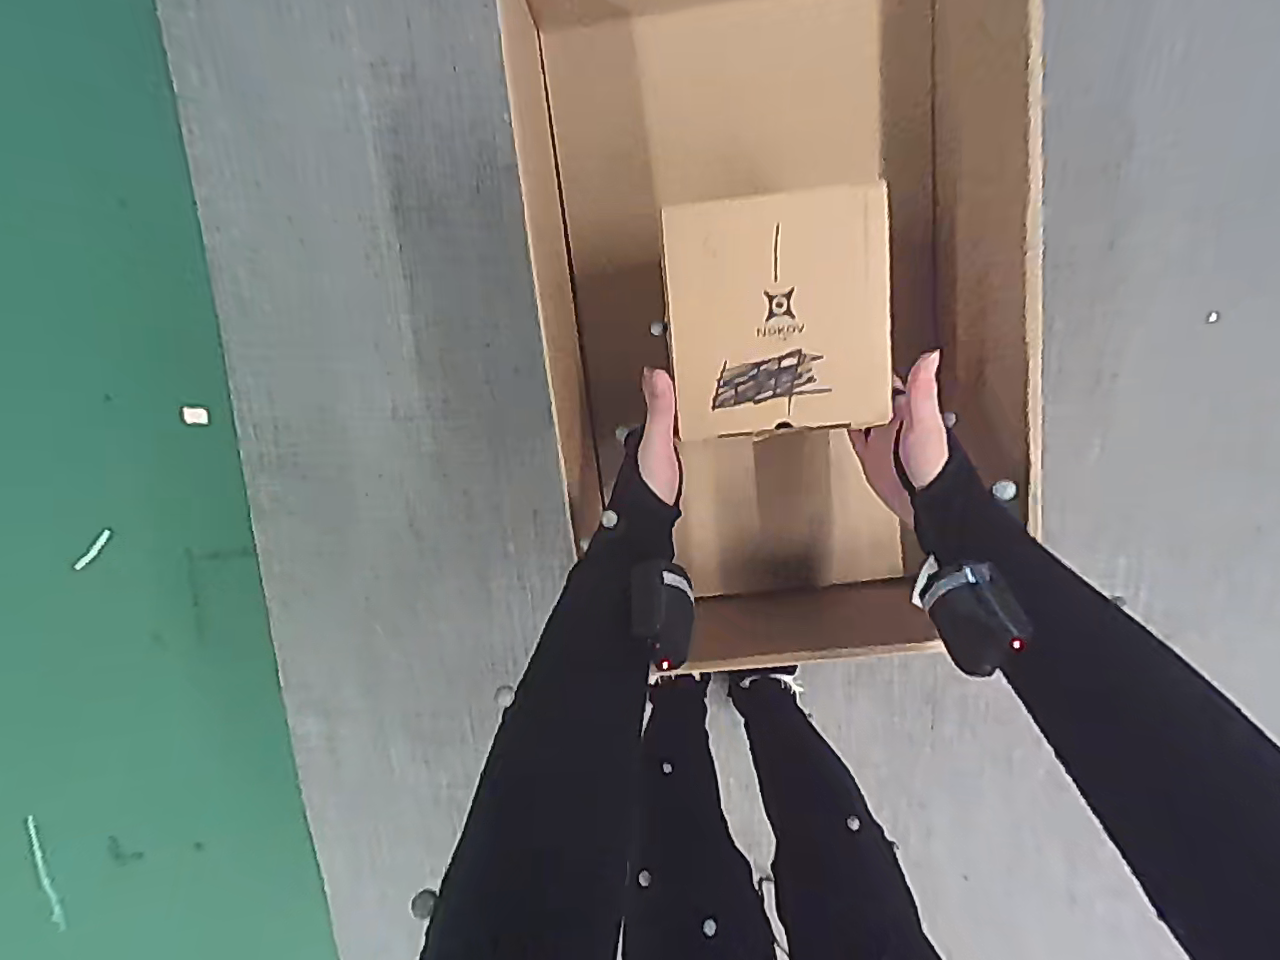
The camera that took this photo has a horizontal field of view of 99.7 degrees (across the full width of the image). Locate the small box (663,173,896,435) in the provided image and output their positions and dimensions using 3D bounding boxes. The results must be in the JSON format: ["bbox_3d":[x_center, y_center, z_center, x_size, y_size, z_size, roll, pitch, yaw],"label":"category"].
[{"bbox_3d":[0.110,-0.141,0.480,0.168,0.176,0.179,-5,100,4],"label":"small box"}]
